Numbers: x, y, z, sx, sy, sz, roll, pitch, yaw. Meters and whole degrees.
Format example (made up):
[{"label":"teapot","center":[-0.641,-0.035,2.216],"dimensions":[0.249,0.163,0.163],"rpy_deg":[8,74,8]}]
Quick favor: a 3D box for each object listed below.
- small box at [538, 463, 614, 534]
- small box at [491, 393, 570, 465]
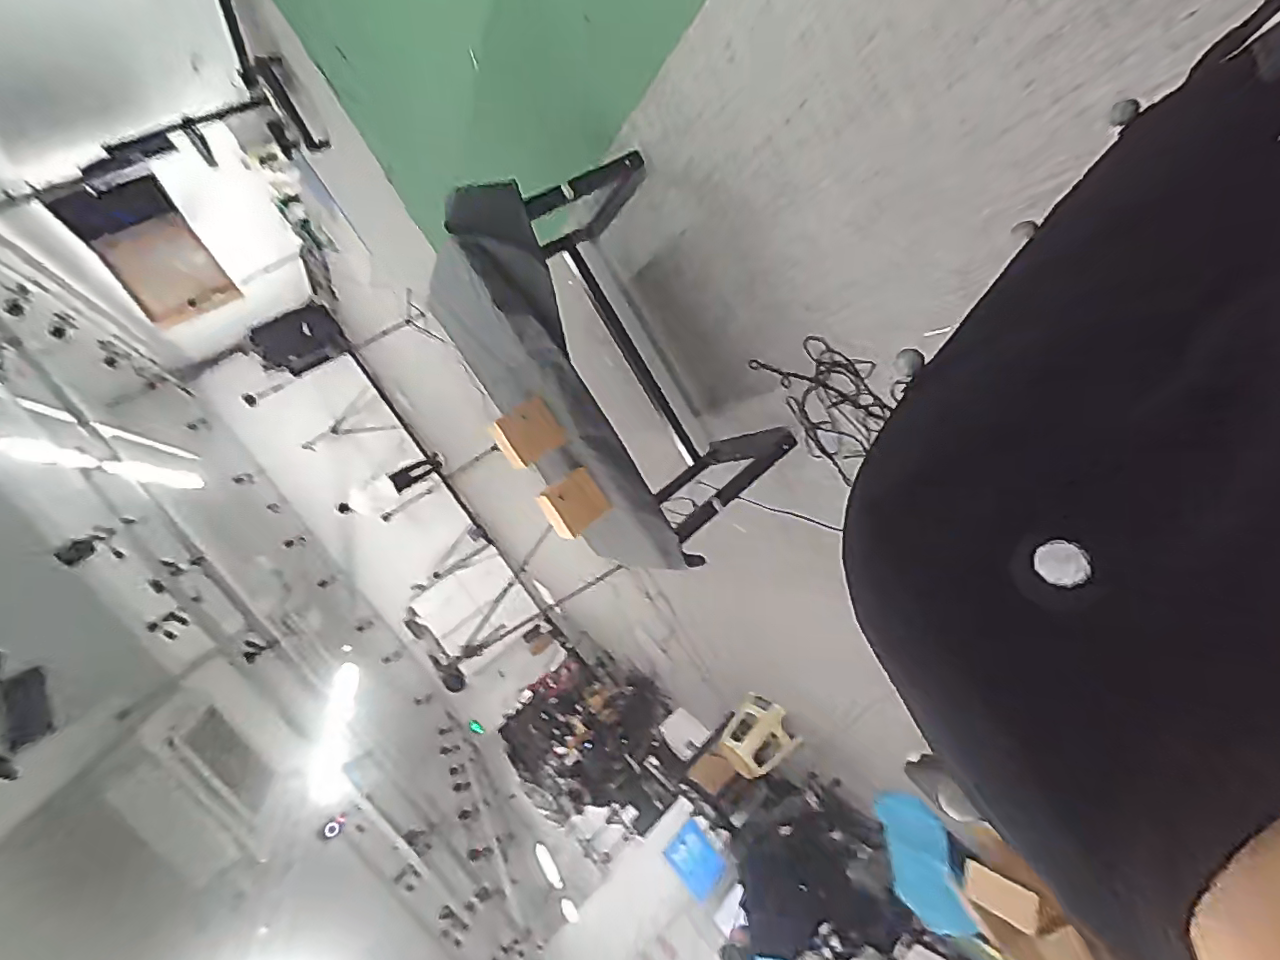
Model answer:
[{"label":"small box","center":[-0.216,0.064,1.835],"dimensions":[0.179,0.176,0.168],"rpy_deg":[58,158,-10]},{"label":"small box","center":[-0.359,-0.170,1.775],"dimensions":[0.179,0.176,0.168],"rpy_deg":[57,159,-12]}]
